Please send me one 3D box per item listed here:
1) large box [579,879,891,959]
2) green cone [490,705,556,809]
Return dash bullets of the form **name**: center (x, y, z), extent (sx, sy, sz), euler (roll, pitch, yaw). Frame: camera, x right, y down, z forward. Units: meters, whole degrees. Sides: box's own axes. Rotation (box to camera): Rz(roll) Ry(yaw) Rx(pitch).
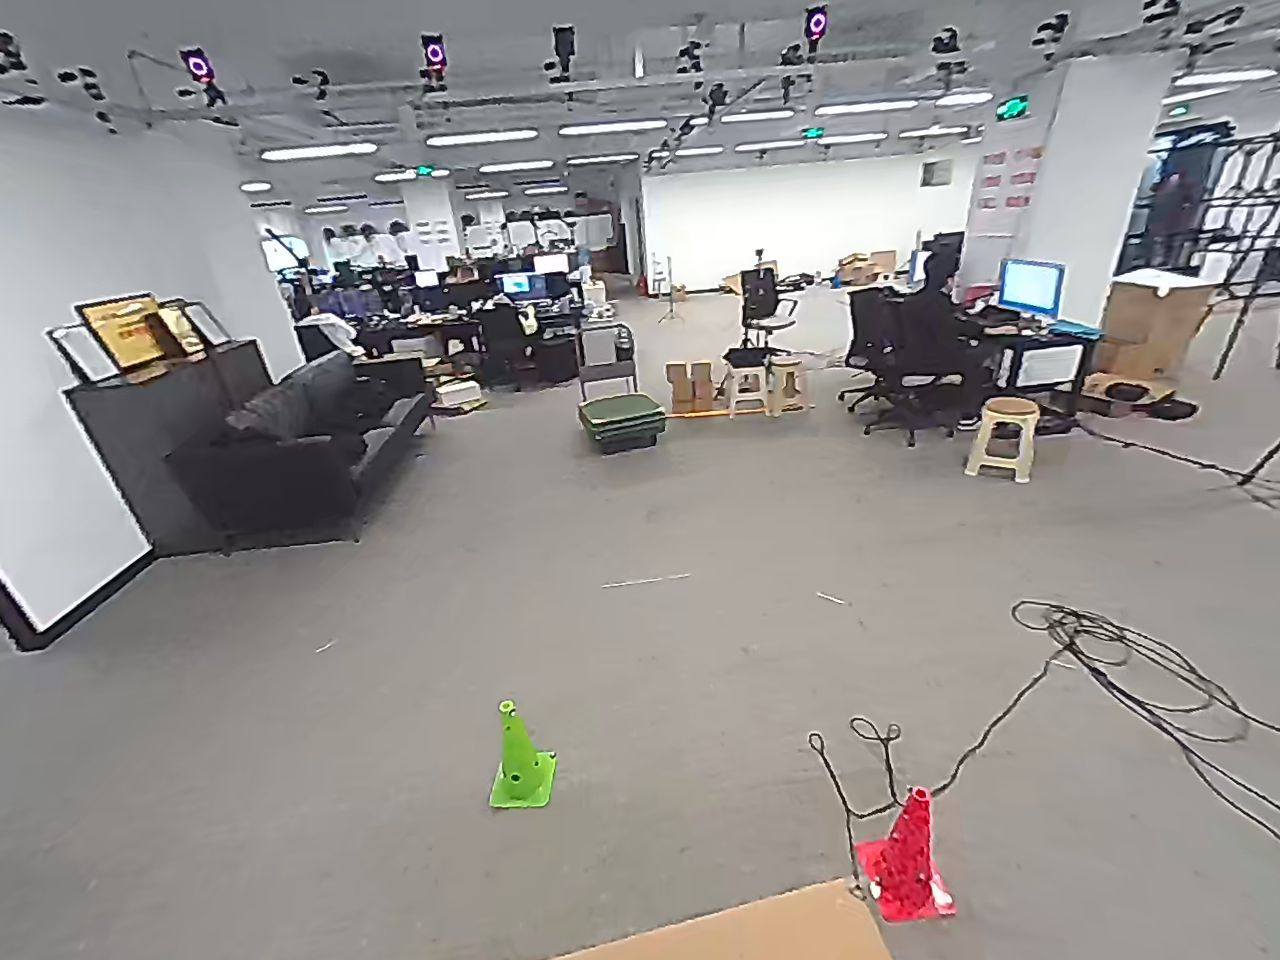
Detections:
- **large box**: center (0.076, 0.664, 0.503), extent (0.408, 0.320, 0.320), euler (-10, 34, -7)
- **green cone**: center (-0.414, 0.877, 1.783), extent (0.200, 0.368, 0.202), euler (-4, 27, 3)
